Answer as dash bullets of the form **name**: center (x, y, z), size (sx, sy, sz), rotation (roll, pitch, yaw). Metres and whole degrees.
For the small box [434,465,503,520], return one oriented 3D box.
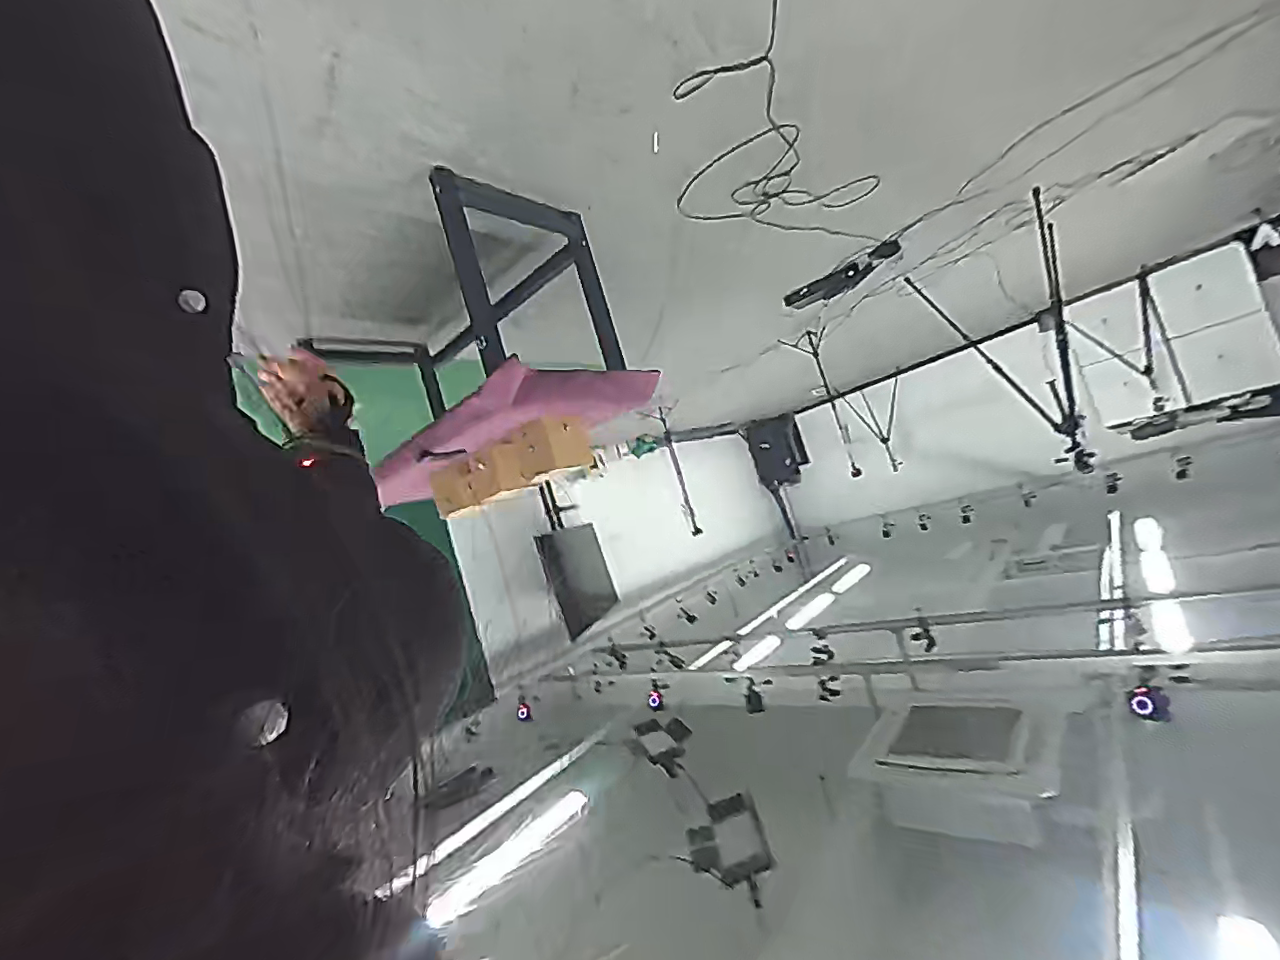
- **small box**: center (-0.669, 0.043, 2.093), size (0.179, 0.176, 0.168), rotation (-20, 174, 35)

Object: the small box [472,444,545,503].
- **small box**: center (-0.473, -0.029, 1.939), size (0.168, 0.176, 0.179), rotation (-22, 174, 43)

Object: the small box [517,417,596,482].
- **small box**: center (-0.277, -0.103, 1.771), size (0.168, 0.176, 0.179), rotation (-20, 174, 38)
